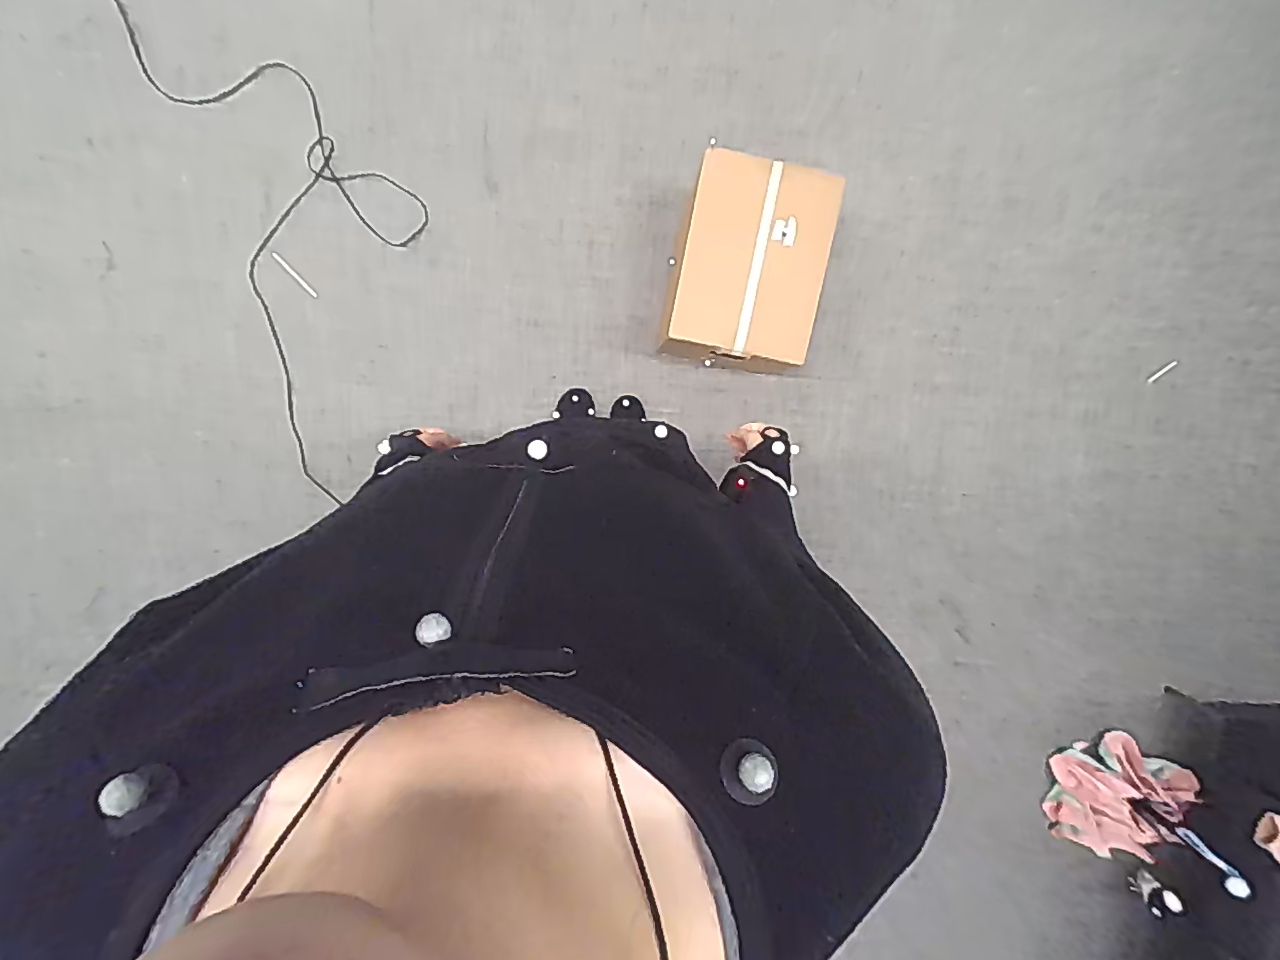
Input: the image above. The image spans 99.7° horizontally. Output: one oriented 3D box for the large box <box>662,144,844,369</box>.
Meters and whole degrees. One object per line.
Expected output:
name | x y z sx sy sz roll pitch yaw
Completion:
large box | 0.247 -0.504 1.314 0.320 0.320 0.408 11 96 -5
